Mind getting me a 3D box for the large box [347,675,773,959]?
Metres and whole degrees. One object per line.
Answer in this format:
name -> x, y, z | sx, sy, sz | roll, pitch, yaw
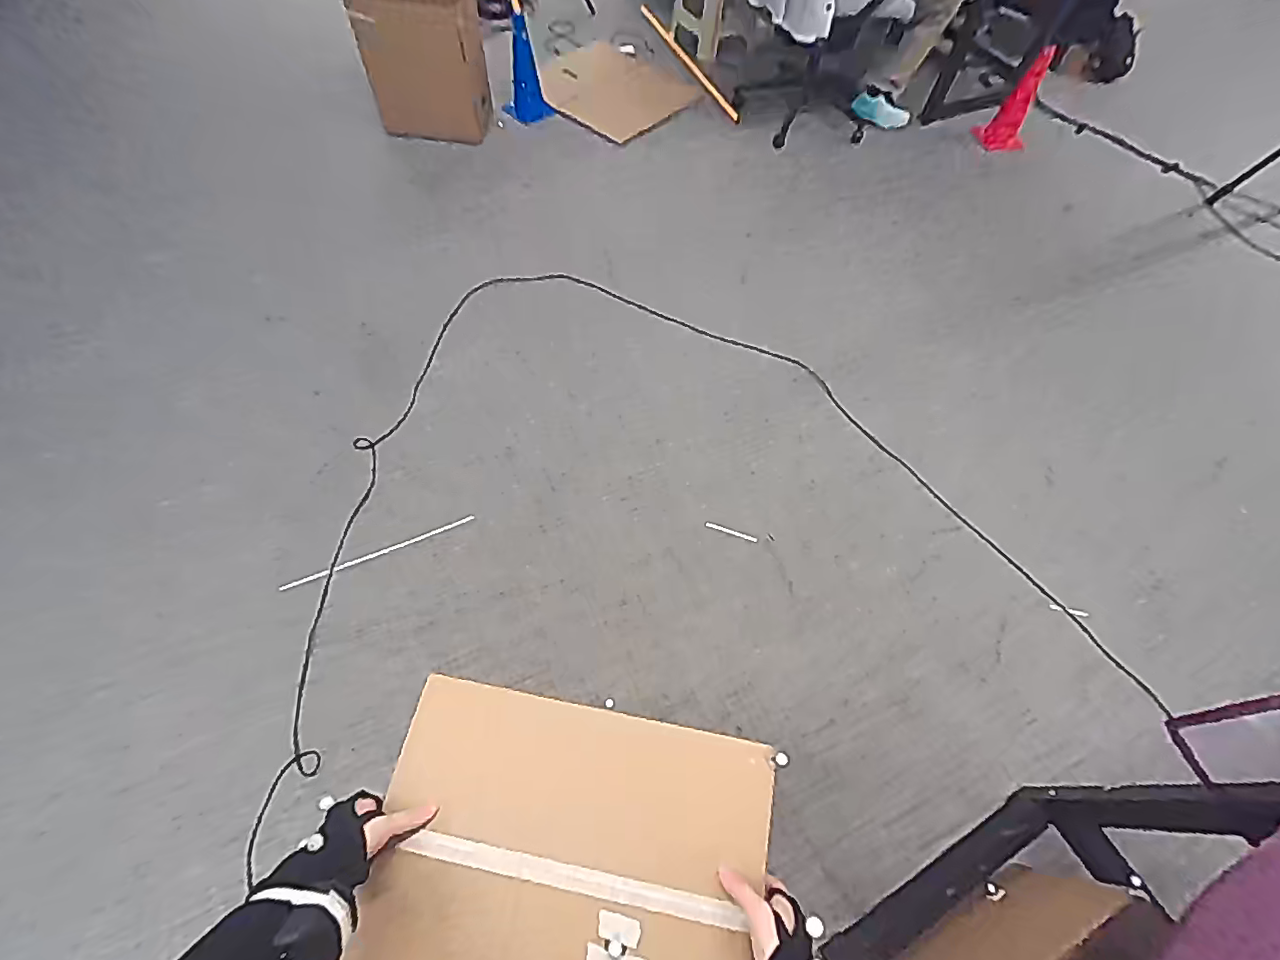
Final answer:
large box -> -0.071, 0.458, 0.696 | 0.408, 0.320, 0.320 | 10, 67, 5
